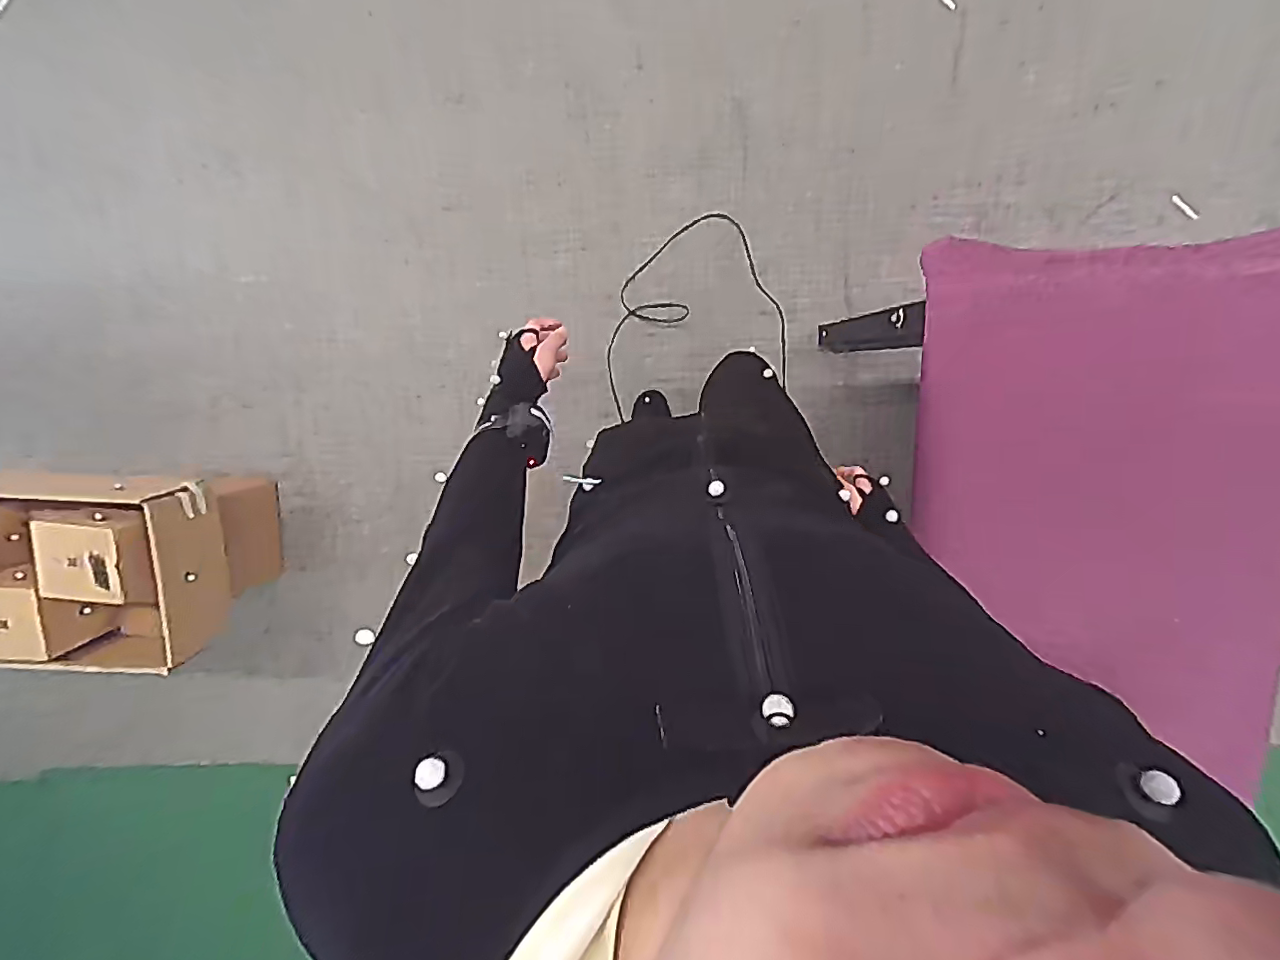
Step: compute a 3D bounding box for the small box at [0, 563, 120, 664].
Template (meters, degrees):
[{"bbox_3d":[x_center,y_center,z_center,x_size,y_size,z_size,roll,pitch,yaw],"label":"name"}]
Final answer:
[{"bbox_3d":[-1.327,0.293,1.215,0.179,0.176,0.168,3,100,1],"label":"small box"}]
